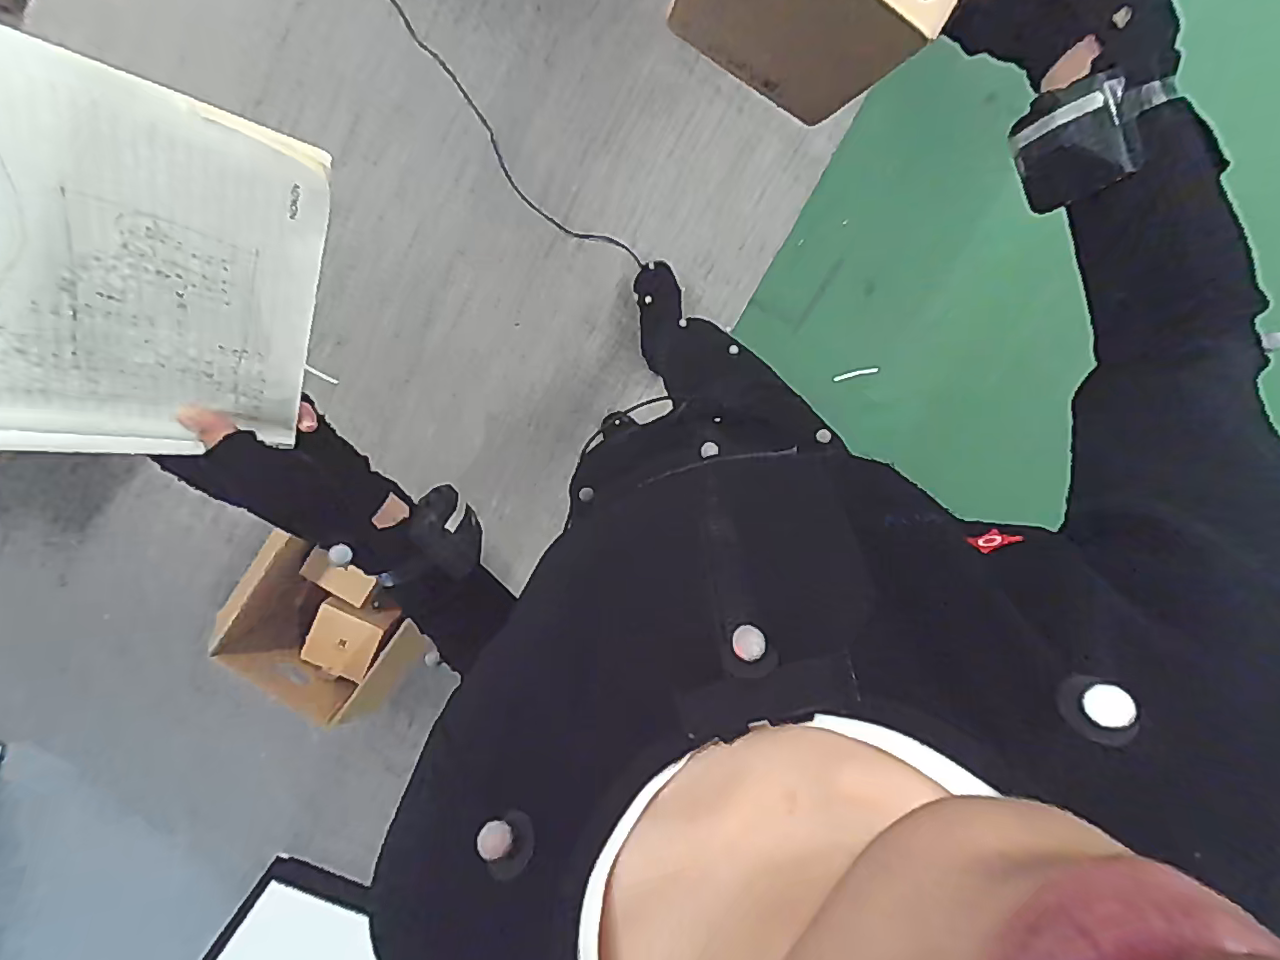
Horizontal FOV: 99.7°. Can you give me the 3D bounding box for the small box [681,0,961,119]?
[{"bbox_3d":[0.149,-0.420,0.396,0.168,0.176,0.179,24,99,-17],"label":"small box"}]
